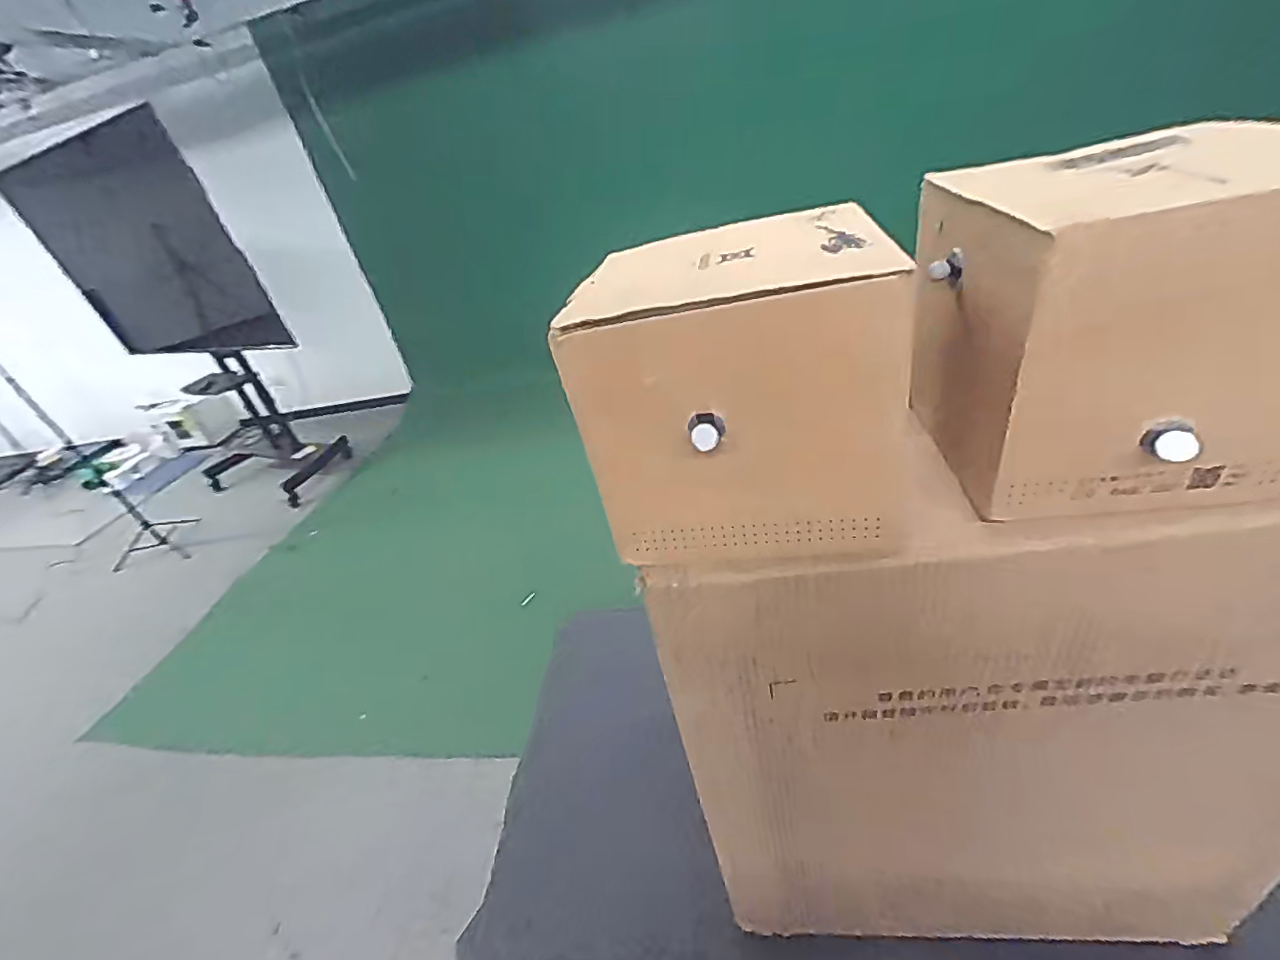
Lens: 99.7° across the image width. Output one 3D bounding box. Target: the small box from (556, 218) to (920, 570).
[{"bbox_3d":[0.068,-0.054,0.361,0.179,0.176,0.168,-4,36,14],"label":"small box"}]
